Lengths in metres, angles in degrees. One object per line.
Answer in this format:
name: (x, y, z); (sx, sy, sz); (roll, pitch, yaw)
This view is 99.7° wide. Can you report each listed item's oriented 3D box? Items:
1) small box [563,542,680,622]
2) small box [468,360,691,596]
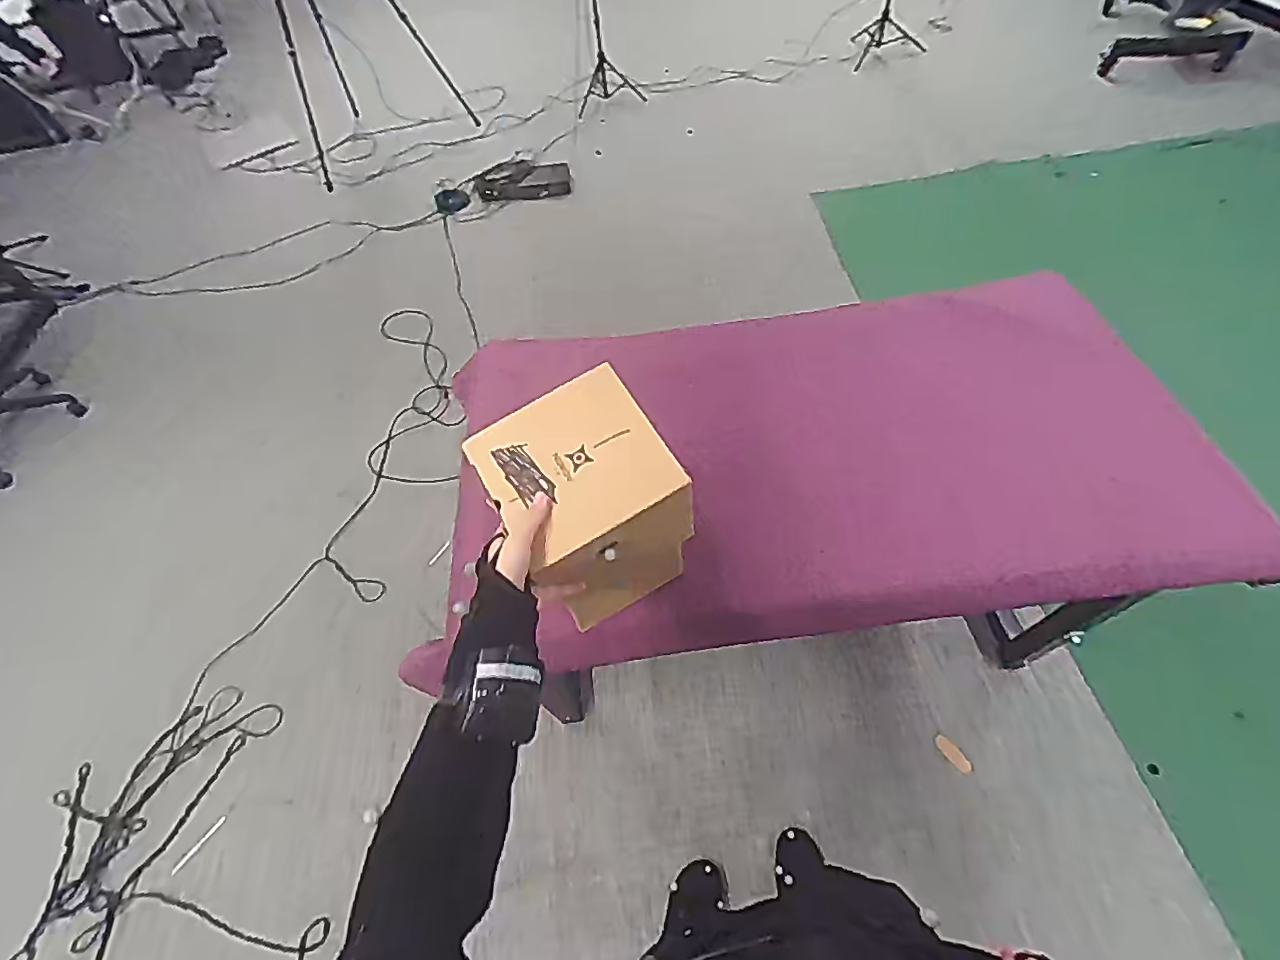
small box: (-0.056, 0.074, 0.772); (0.179, 0.176, 0.168); (-29, 58, -12)
small box: (-0.055, 0.009, 0.598); (0.179, 0.176, 0.168); (-29, 68, -6)
